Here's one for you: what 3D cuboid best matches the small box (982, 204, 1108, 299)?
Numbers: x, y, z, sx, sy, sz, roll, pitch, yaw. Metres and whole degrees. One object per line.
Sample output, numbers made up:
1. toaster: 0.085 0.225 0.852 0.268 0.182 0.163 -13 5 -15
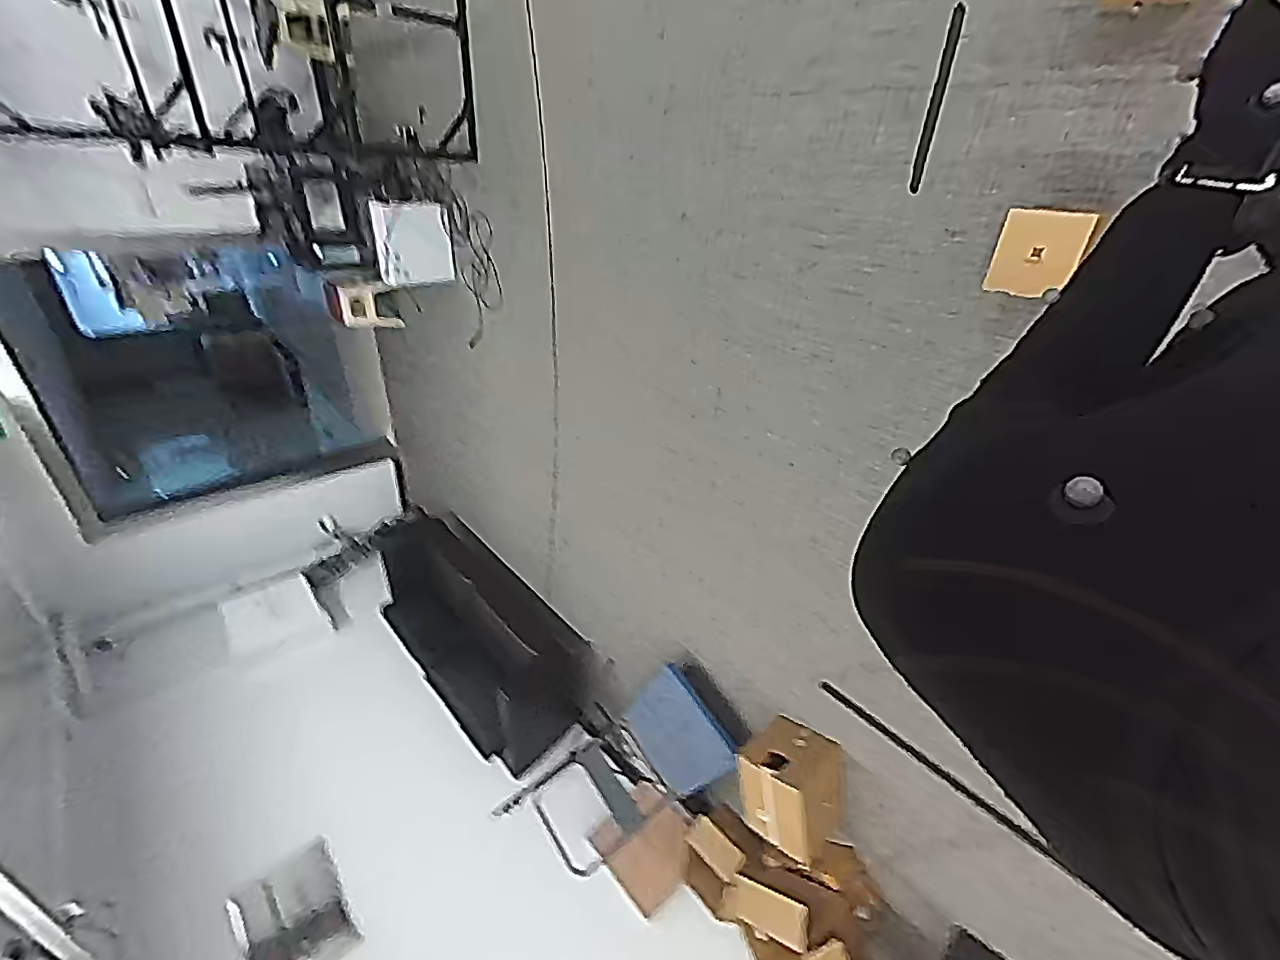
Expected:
1. small box: 0.918 -0.523 1.225 0.168 0.176 0.179 30 131 38
